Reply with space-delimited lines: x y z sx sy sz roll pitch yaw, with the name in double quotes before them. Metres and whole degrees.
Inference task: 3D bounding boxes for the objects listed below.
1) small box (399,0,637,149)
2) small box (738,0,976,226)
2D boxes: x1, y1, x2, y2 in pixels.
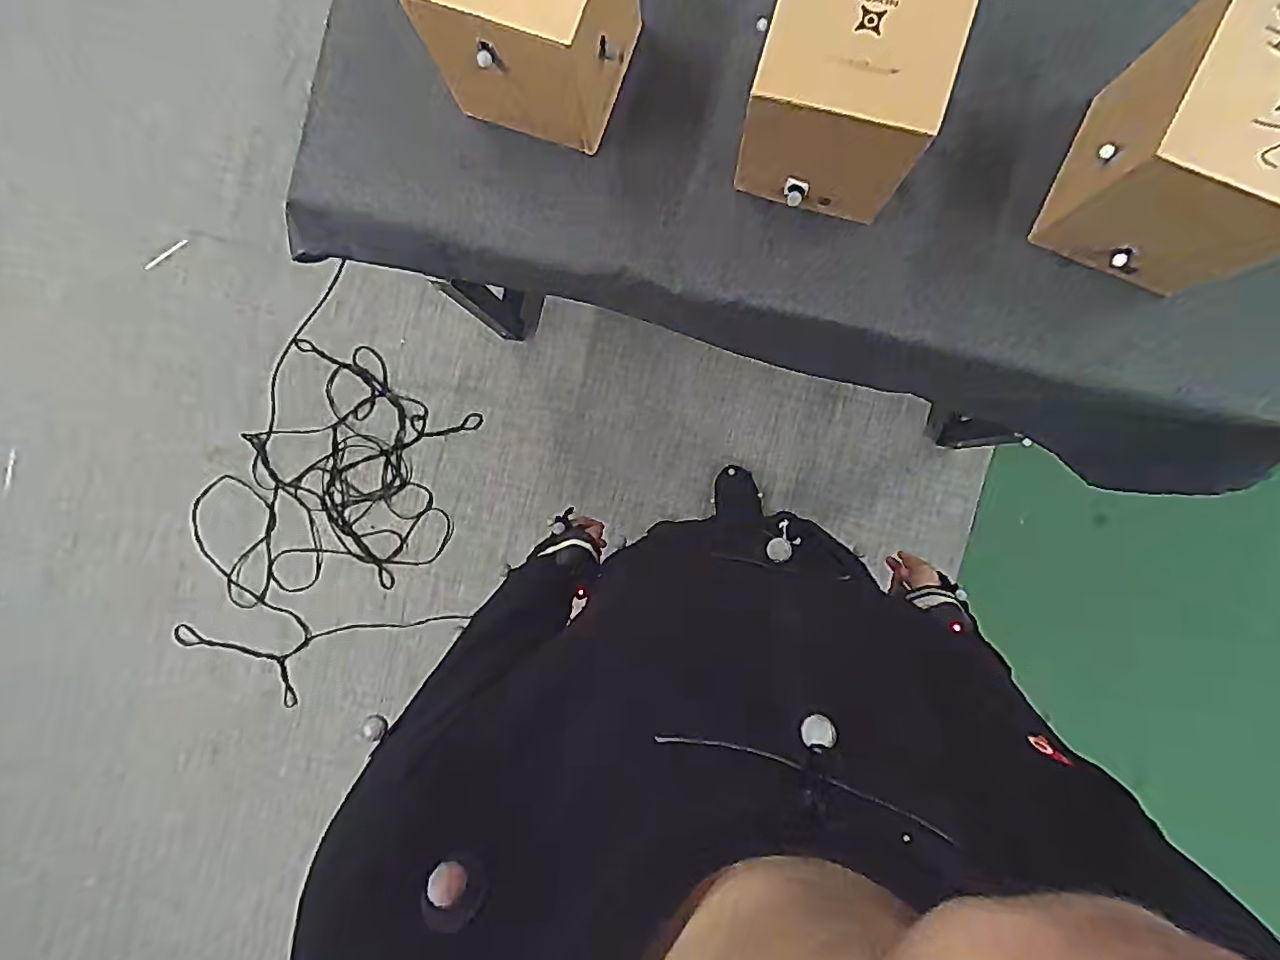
"small box" -0.110 -0.487 0.564 0.179 0.176 0.168 20 91 3
"small box" 0.203 -0.395 0.546 0.168 0.176 0.179 15 91 4
